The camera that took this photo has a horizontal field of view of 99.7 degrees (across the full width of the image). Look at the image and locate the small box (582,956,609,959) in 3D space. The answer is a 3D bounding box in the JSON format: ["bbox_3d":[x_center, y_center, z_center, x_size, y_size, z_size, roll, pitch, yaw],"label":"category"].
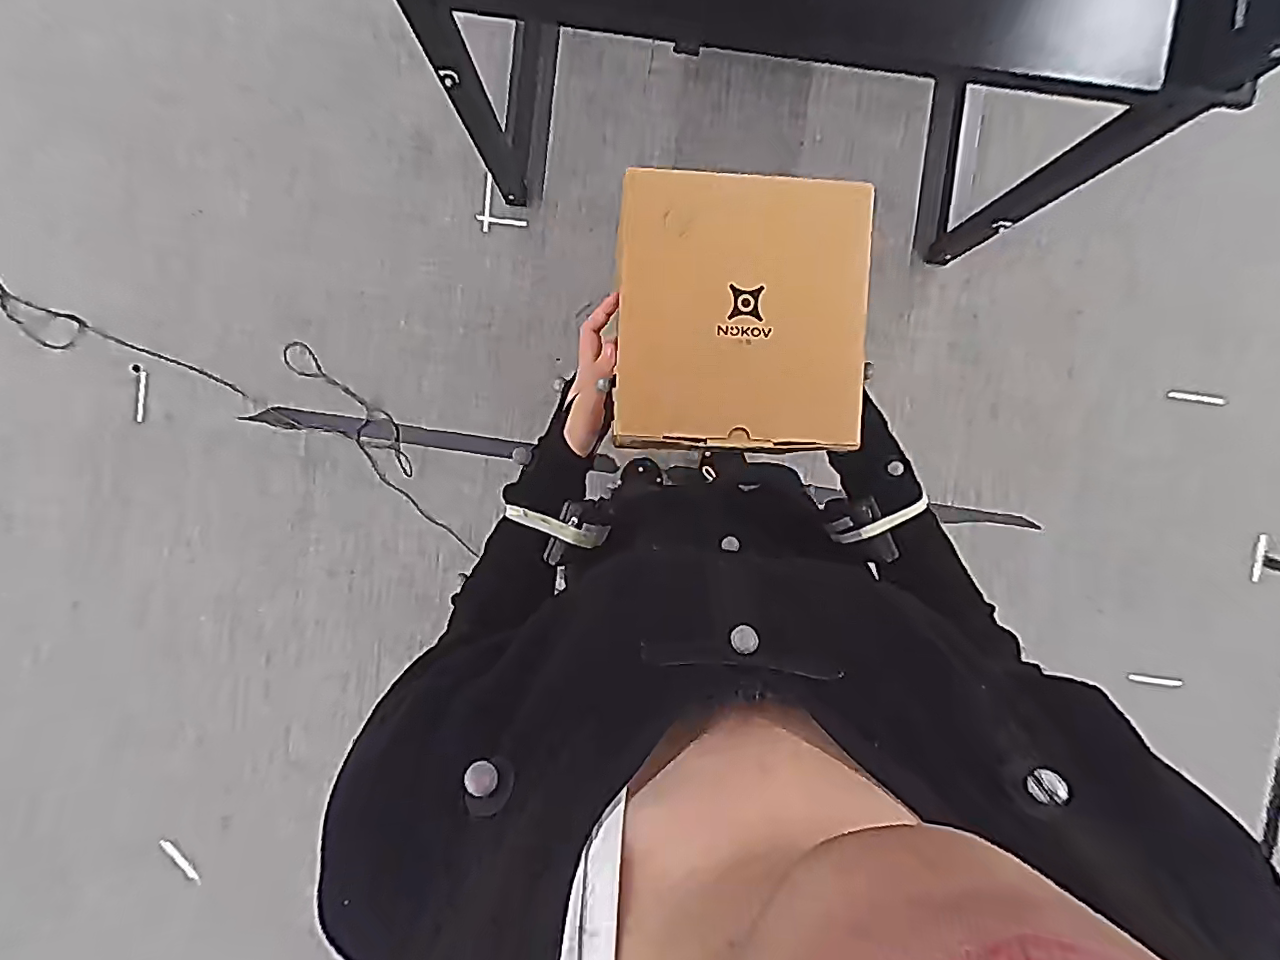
[{"bbox_3d":[-0.097,1.482,1.501,0.179,0.176,0.168,15,93,-3],"label":"small box"}]

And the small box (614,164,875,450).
[{"bbox_3d":[0.065,-0.116,0.433,0.168,0.176,0.179,2,93,-3],"label":"small box"}]
